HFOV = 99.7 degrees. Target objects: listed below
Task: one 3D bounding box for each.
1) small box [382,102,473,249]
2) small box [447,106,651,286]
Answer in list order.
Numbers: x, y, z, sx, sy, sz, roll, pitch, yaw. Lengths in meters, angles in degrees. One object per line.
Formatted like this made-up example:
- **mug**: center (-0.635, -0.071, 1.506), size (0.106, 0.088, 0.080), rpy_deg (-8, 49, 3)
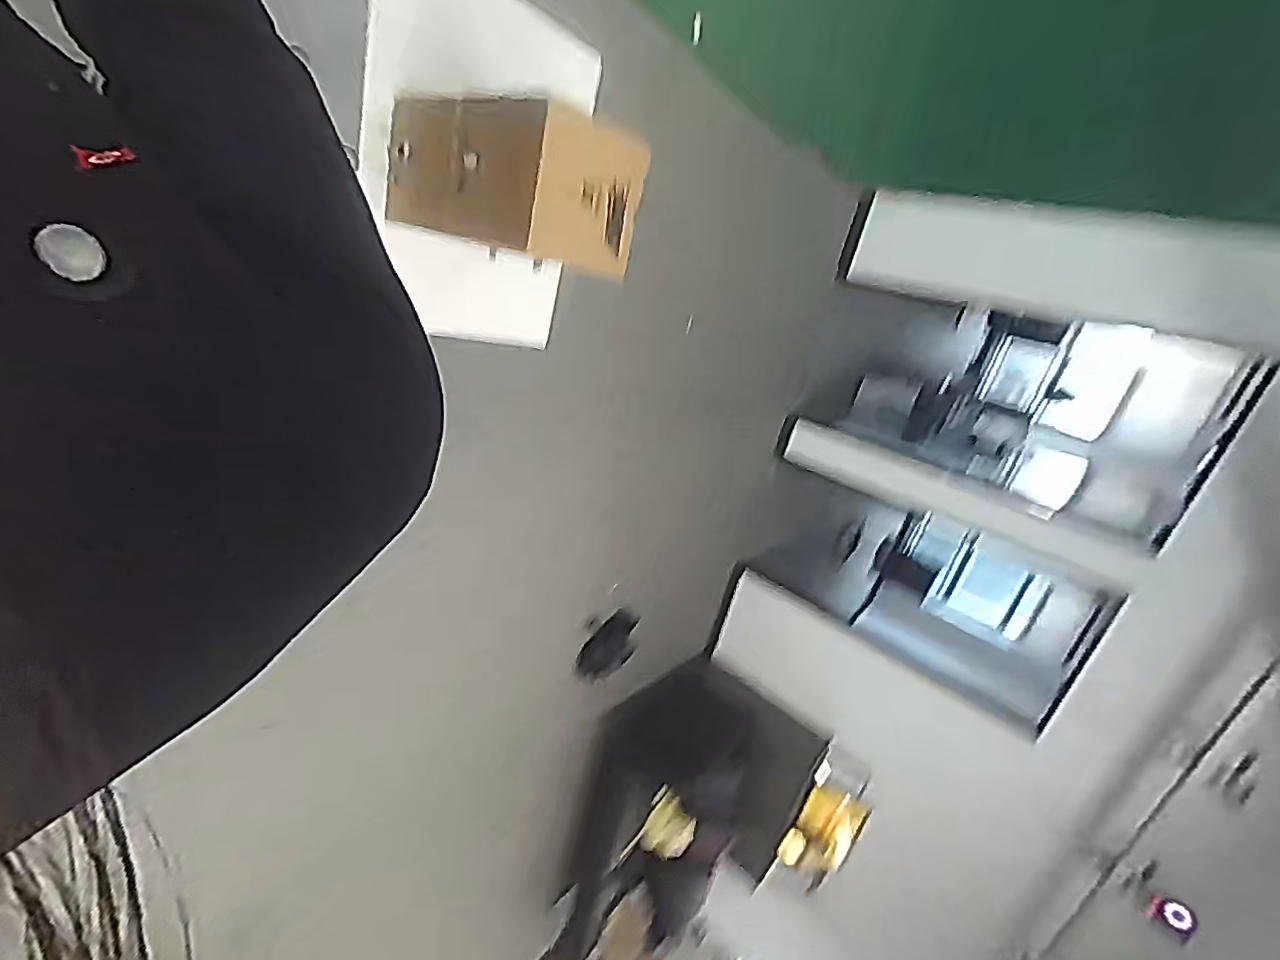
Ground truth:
- **small box**: center (-0.242, -0.422, 0.780), size (0.179, 0.176, 0.168), rpy_deg (-11, 121, -49)
- **small box**: center (-0.117, -0.359, 0.692), size (0.179, 0.176, 0.168), rpy_deg (-15, 125, -50)
